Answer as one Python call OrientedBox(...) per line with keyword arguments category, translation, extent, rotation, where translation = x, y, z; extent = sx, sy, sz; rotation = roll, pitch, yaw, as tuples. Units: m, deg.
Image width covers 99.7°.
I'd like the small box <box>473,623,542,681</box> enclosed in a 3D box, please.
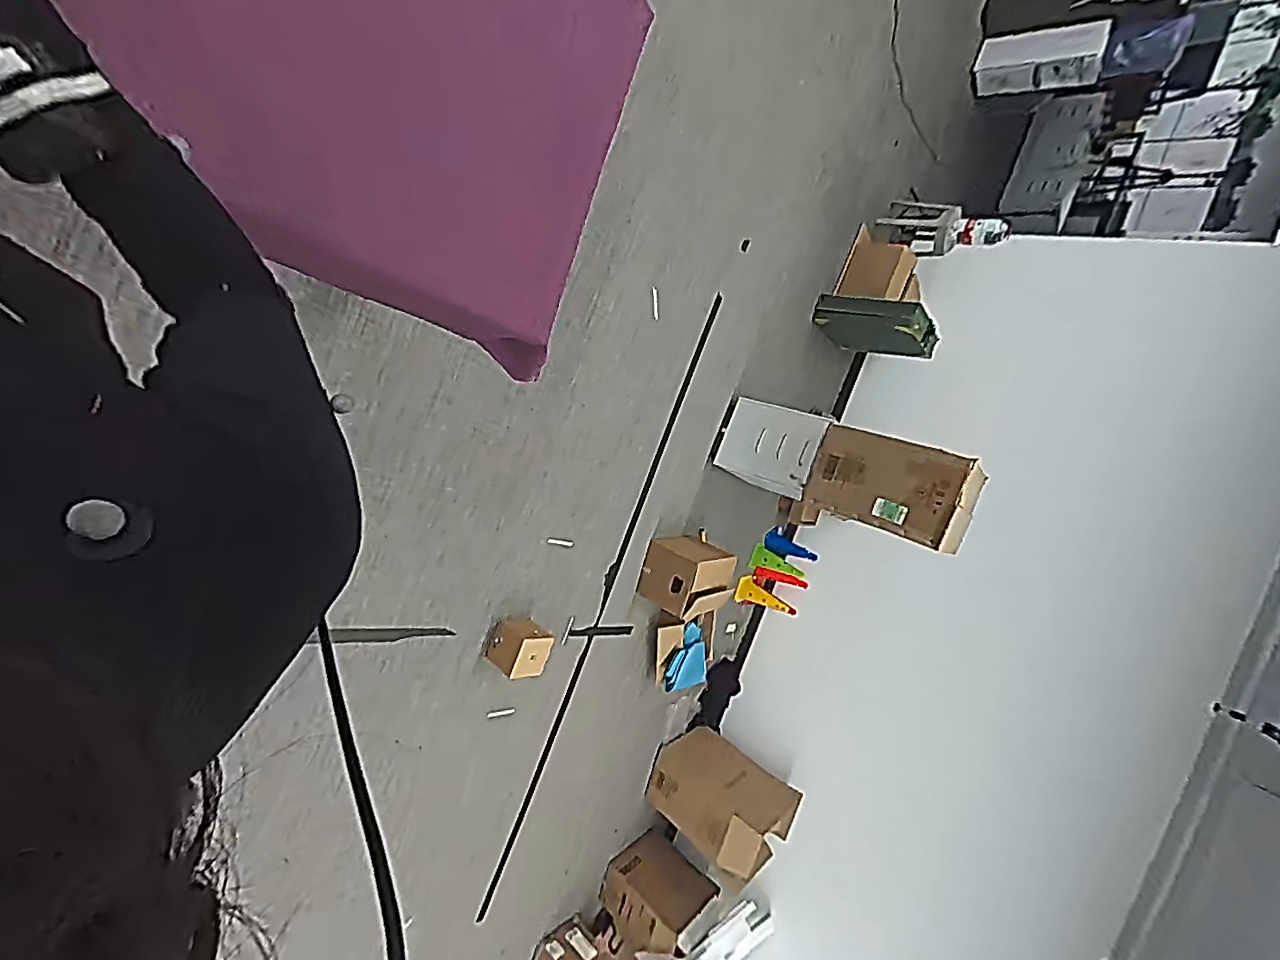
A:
OrientedBox(category="small box", translation=(-0.532, 0.686, 2.171), extent=(0.179, 0.176, 0.168), rotation=(21, 90, -53))
